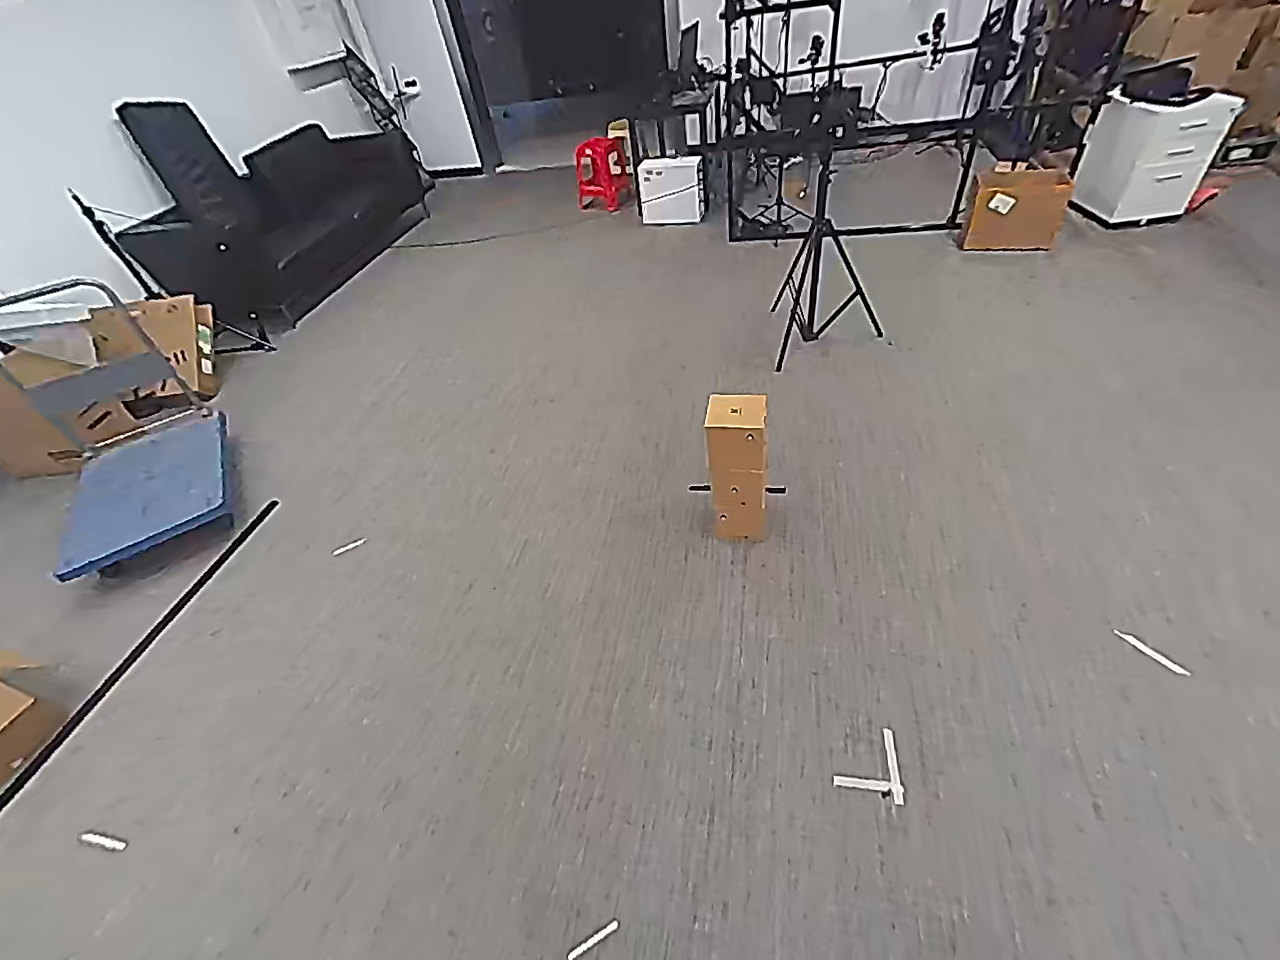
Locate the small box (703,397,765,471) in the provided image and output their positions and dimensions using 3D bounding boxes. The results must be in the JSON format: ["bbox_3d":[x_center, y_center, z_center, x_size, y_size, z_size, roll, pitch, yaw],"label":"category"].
[{"bbox_3d":[0.295,-0.143,1.680,0.179,0.176,0.168,2,44,13],"label":"small box"}]

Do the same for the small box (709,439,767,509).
[{"bbox_3d":[0.327,-0.023,1.786,0.168,0.176,0.179,6,44,16],"label":"small box"}]
